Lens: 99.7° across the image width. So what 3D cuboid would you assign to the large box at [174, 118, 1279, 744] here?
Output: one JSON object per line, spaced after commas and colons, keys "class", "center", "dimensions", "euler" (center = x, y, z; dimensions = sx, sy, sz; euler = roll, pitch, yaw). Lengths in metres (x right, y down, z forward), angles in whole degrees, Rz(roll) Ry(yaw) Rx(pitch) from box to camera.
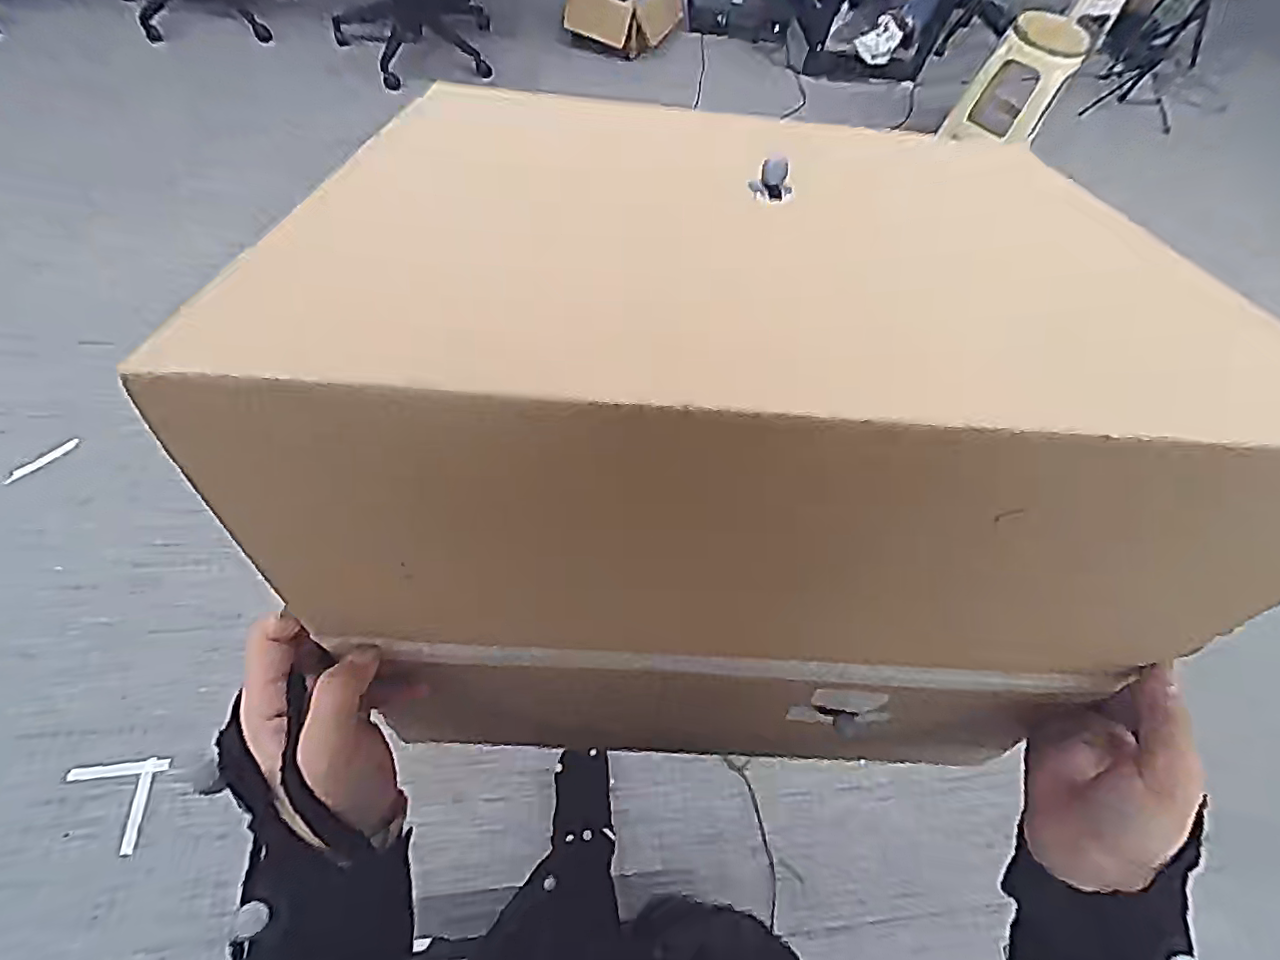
{"class": "large box", "center": [0.044, -0.027, 0.379], "dimensions": [0.408, 0.320, 0.320], "euler": [3, 49, -3]}
